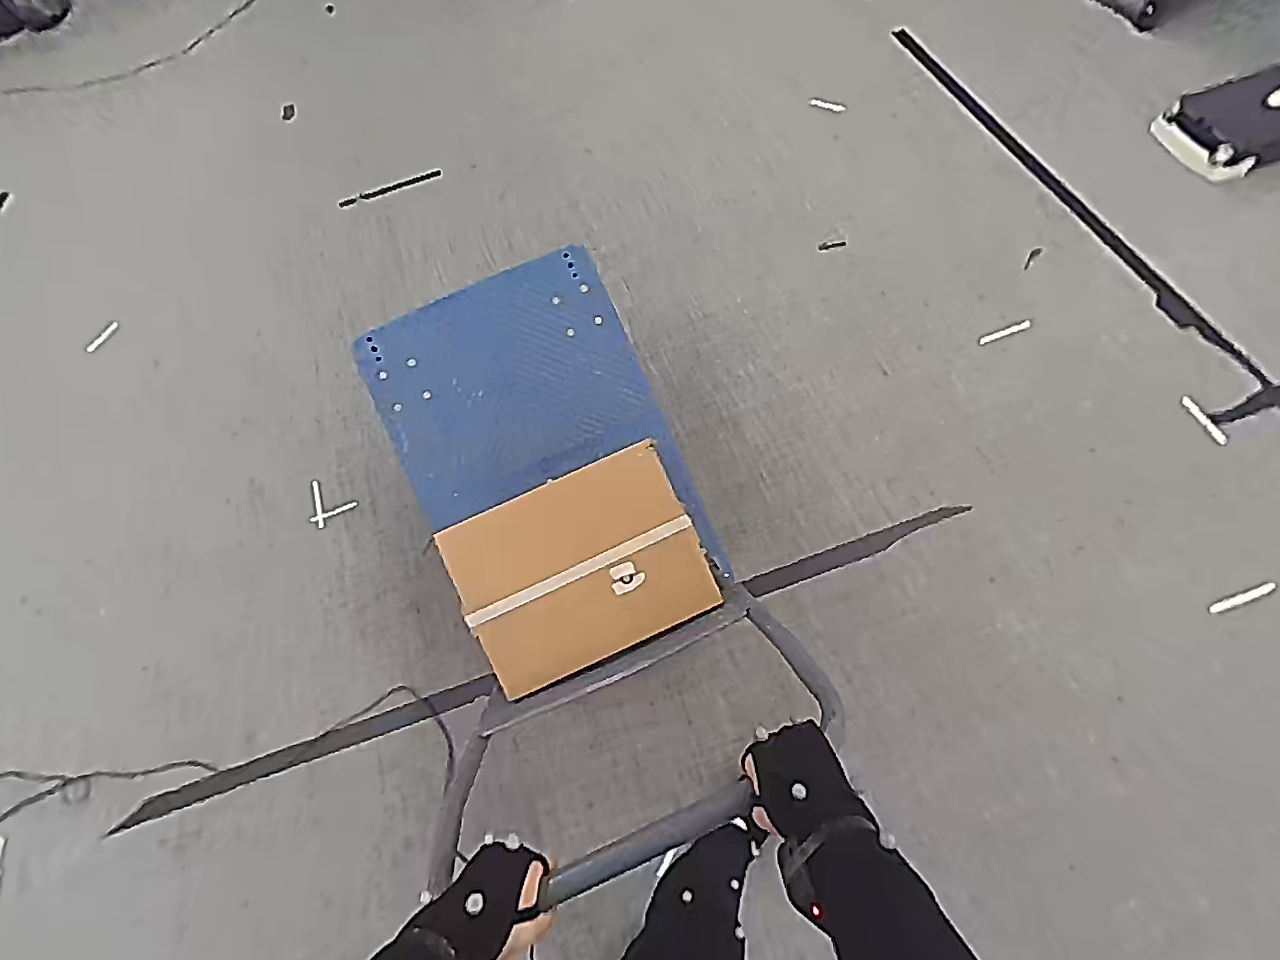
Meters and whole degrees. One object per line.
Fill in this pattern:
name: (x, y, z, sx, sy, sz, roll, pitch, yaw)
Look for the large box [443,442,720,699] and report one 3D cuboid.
large box: (-0.110, 0.162, 1.088, 0.408, 0.320, 0.320, -26, 91, -5)
